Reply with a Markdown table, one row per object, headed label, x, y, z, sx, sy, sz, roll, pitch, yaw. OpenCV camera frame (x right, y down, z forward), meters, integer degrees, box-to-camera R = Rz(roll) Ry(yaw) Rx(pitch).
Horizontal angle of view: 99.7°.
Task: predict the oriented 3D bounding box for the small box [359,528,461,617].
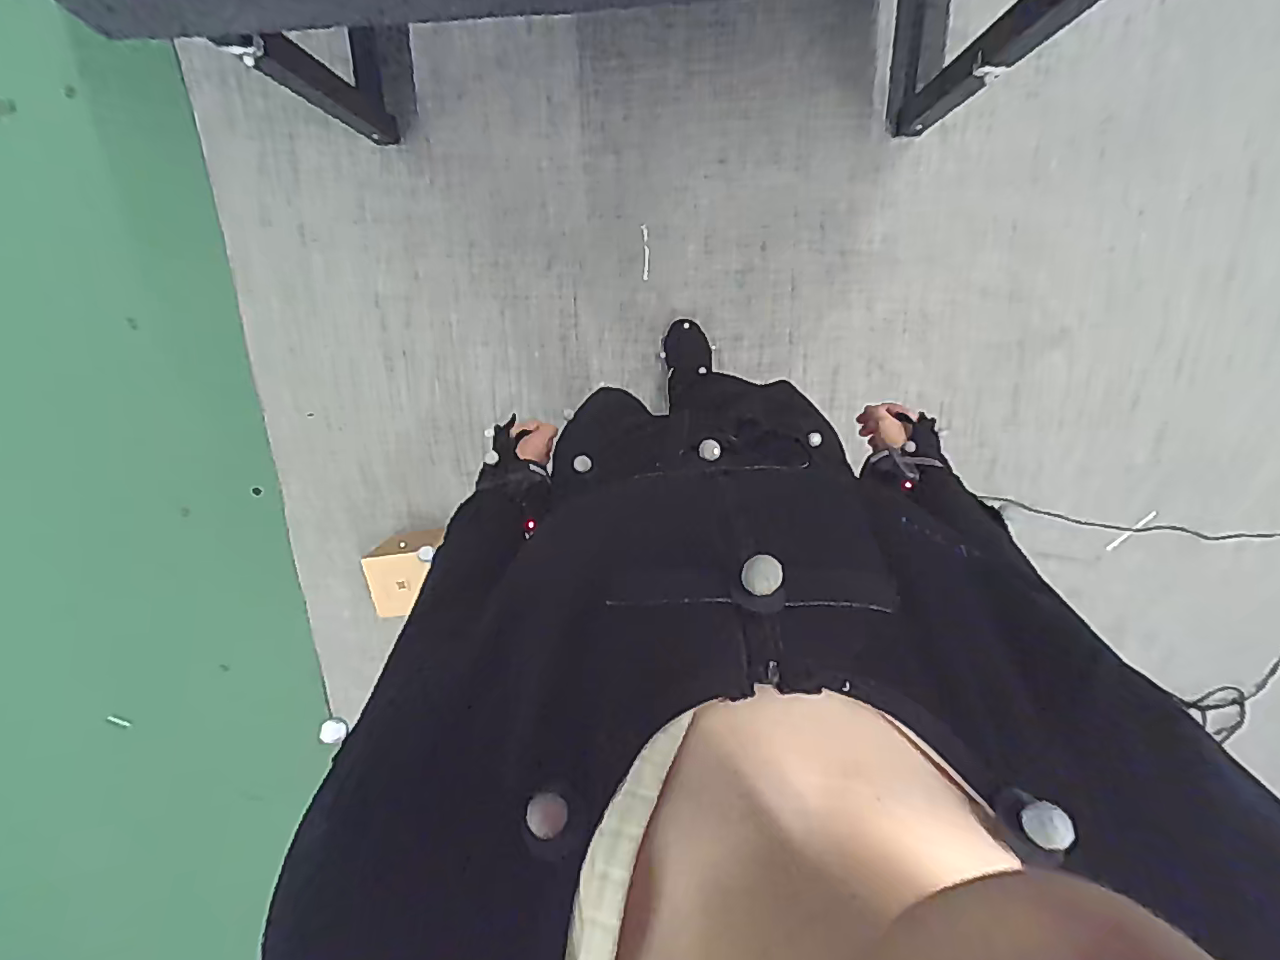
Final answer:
| label | x | y | z | sx | sy | sz | roll | pitch | yaw |
| --- | --- | --- | --- | --- | --- | --- | --- | --- | --- |
| small box | -0.580 | 0.234 | 1.398 | 0.179 | 0.176 | 0.168 | -8 | 104 | 6 |
